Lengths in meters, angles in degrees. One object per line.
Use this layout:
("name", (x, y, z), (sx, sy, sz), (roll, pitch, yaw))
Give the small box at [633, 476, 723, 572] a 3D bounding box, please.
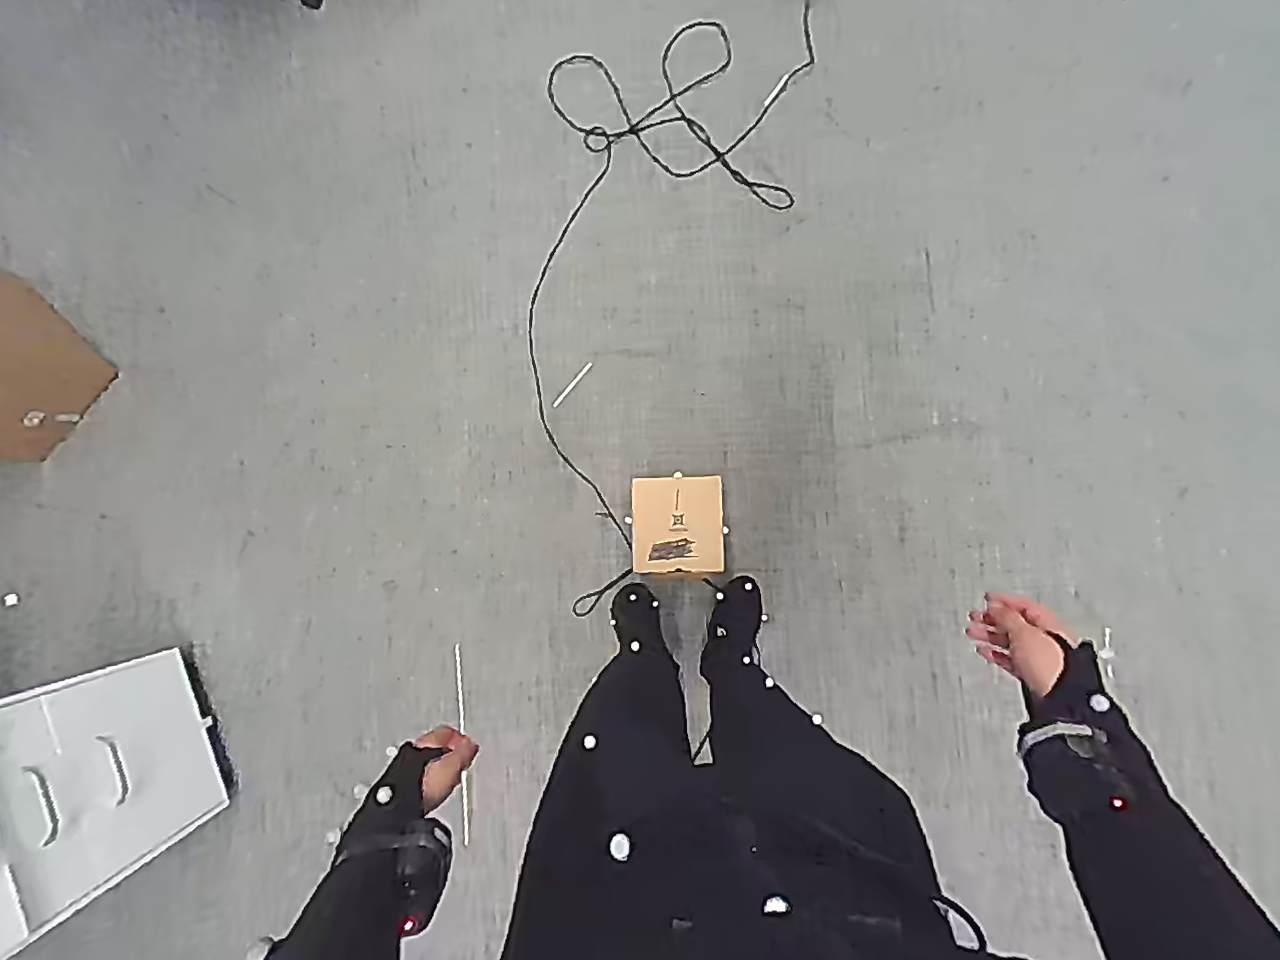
("small box", (0.074, 0.085, 1.063), (0.168, 0.176, 0.179), (0, 86, 3))
